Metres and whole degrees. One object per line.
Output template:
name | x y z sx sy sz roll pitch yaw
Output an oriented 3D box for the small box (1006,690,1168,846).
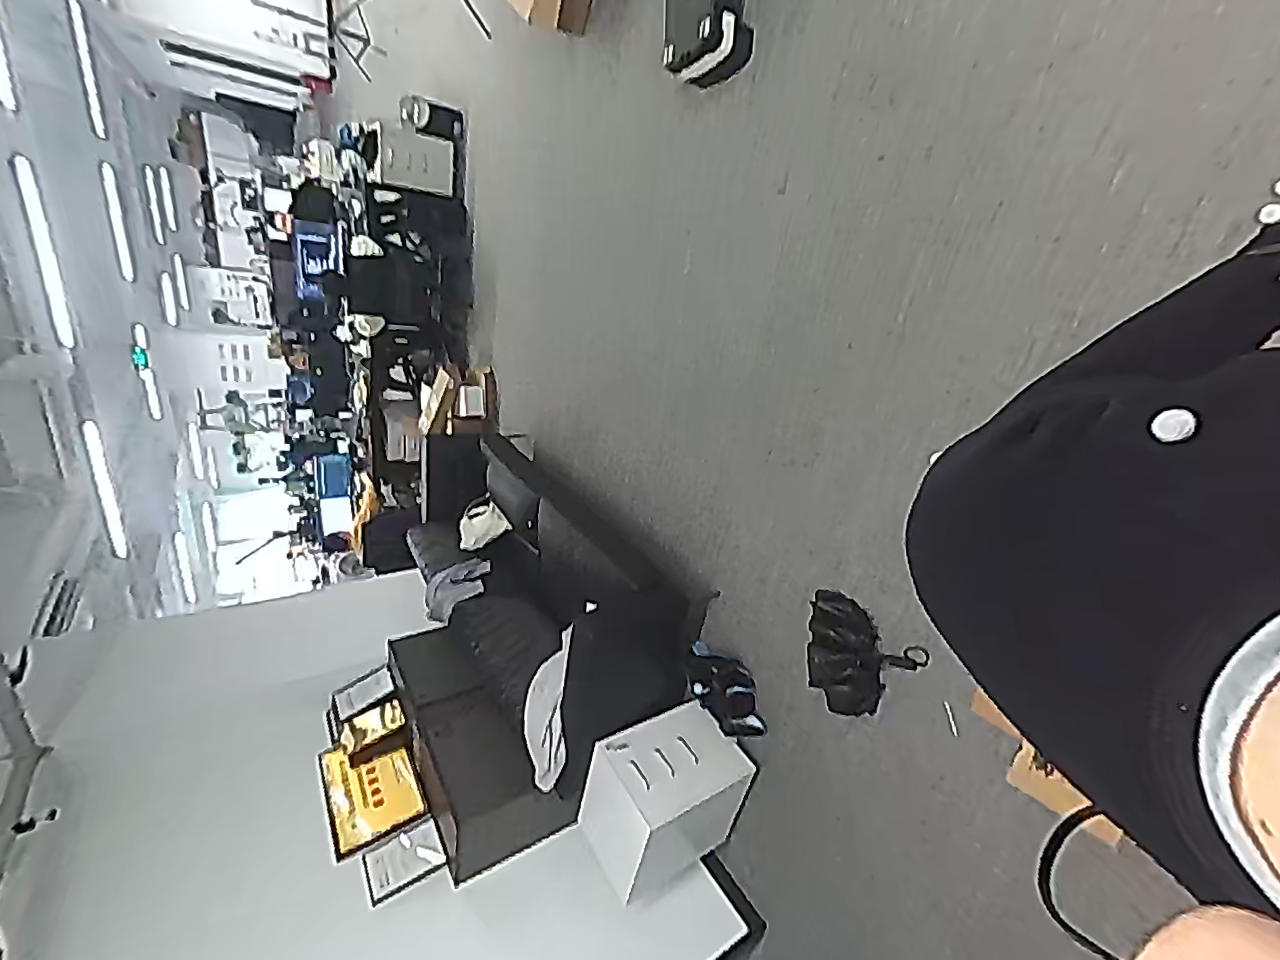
small box | 0.840 0.525 1.020 0.179 0.176 0.168 27 118 47
